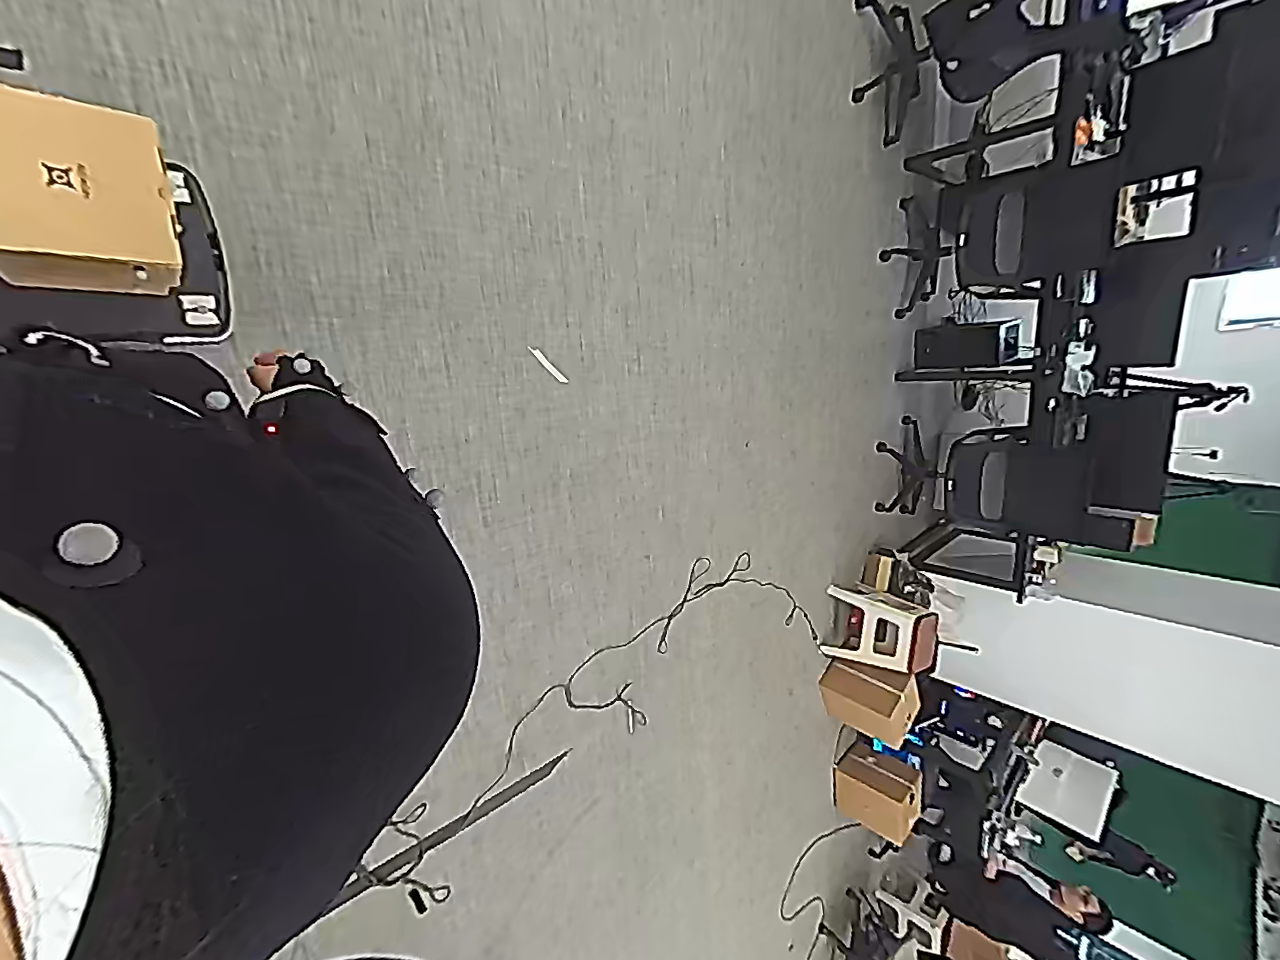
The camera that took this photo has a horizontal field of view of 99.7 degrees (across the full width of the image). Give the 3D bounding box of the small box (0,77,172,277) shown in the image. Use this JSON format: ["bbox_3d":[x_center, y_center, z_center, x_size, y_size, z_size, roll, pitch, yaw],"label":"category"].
[{"bbox_3d":[-0.687,-0.345,0.643,0.179,0.176,0.168,-12,105,-42],"label":"small box"}]

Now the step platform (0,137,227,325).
[{"bbox_3d":[-1.029,-0.375,0.781,0.684,0.204,0.286,-15,107,-40],"label":"step platform"}]
